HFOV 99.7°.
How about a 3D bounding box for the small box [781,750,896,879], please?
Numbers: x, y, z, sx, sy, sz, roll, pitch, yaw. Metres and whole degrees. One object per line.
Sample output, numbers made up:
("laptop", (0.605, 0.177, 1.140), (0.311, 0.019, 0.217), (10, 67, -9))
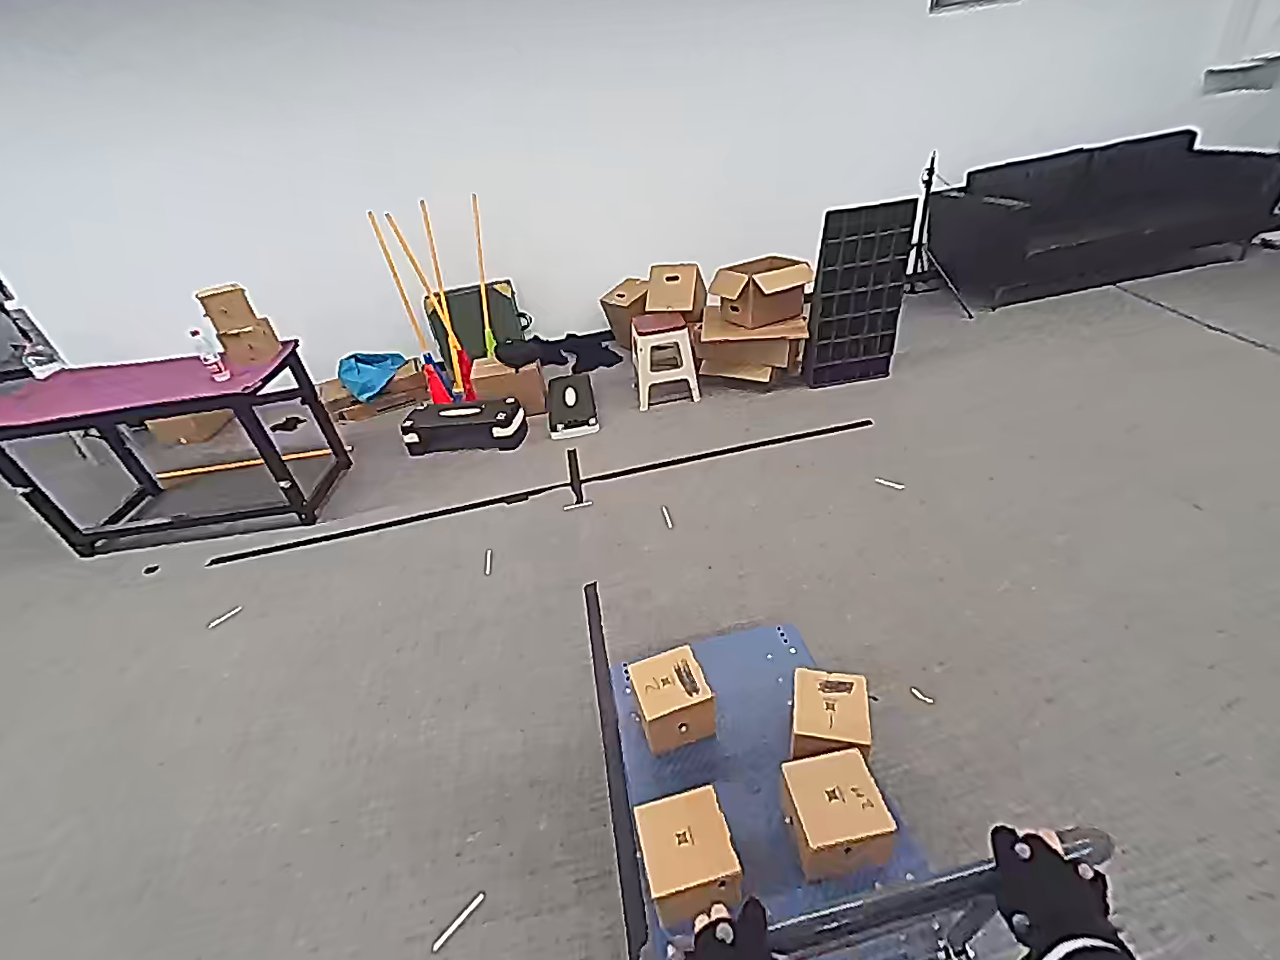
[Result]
("small box", (0.408, 0.704, 1.136), (0.179, 0.176, 0.168), (-11, 35, -2))

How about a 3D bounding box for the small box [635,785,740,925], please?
("small box", (0.099, 0.772, 1.111), (0.179, 0.176, 0.168), (-12, 35, -7))

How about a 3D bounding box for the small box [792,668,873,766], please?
("small box", (0.455, 0.584, 1.295), (0.168, 0.176, 0.179), (2, 37, 16))
